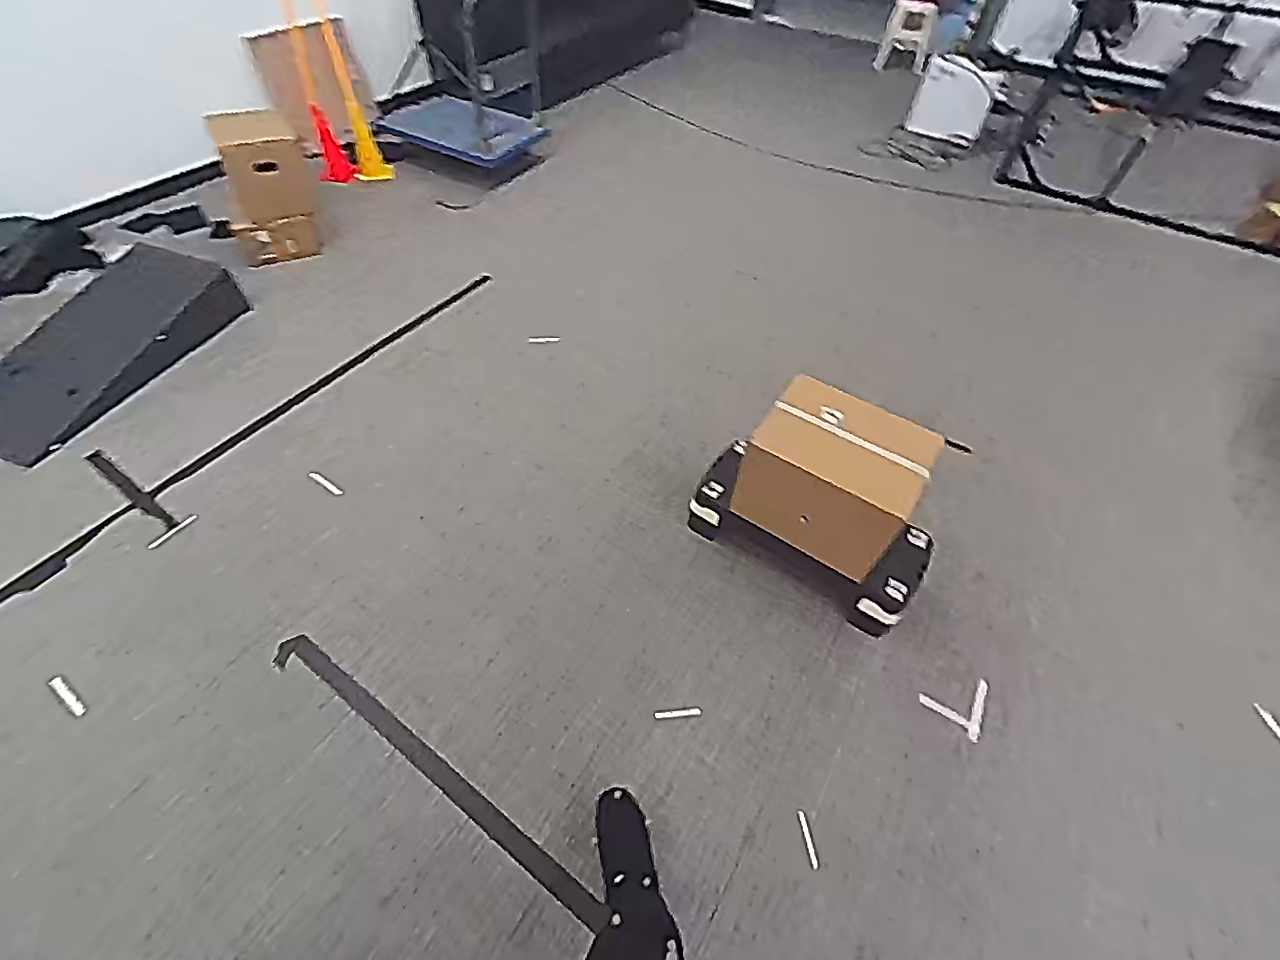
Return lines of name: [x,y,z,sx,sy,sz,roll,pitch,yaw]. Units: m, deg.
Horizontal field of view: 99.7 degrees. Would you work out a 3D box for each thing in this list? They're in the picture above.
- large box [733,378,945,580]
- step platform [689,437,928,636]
large box: [0.514,-0.005,1.452,0.408,0.320,0.320,29,56,20]
step platform: [0.486,0.144,1.637,0.684,0.204,0.286,34,59,23]
